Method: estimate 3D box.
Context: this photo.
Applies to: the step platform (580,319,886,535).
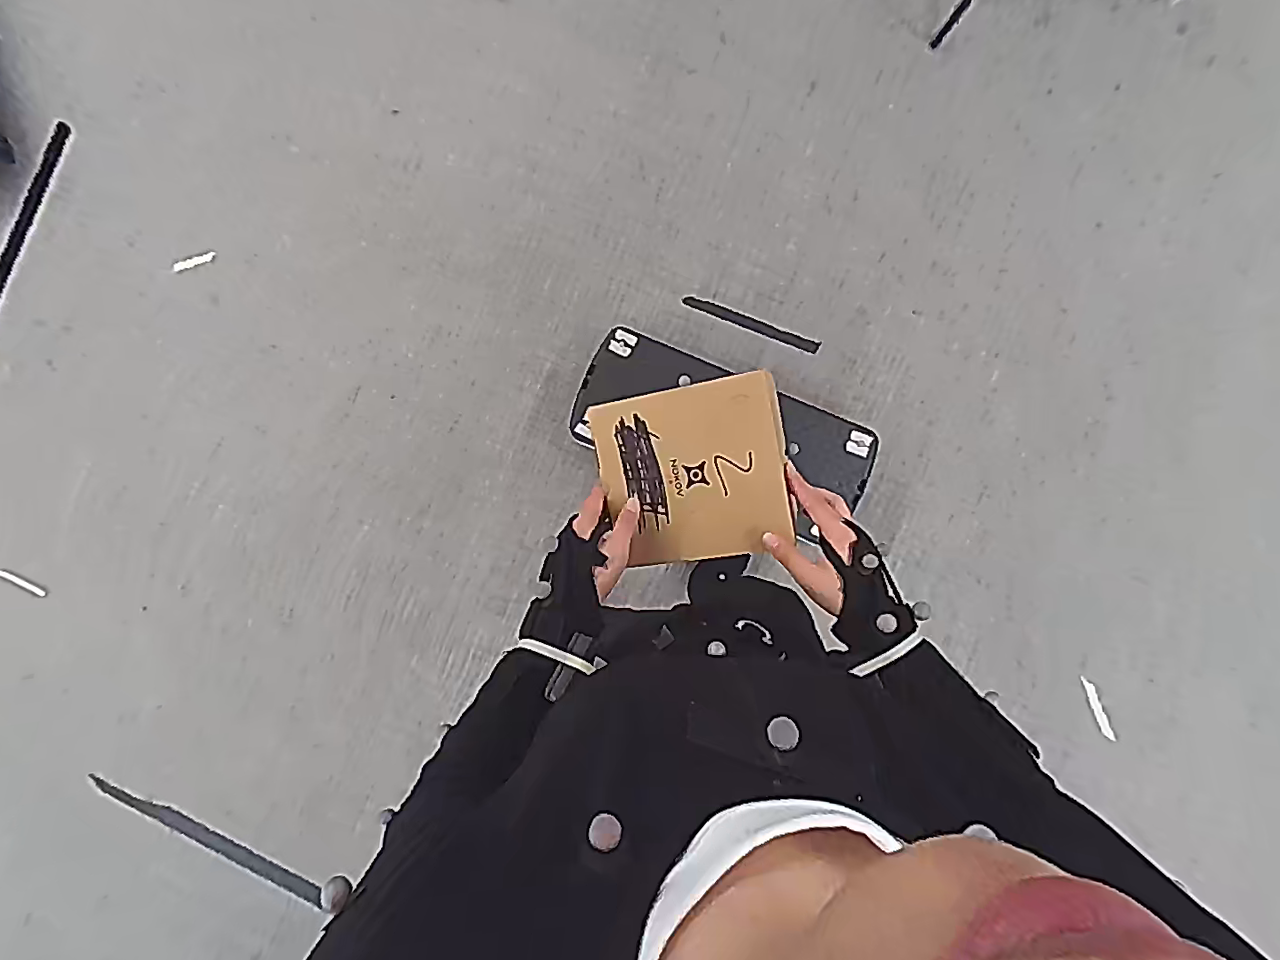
[{"bbox_3d":[0.205,-0.122,1.278,0.684,0.204,0.286,23,90,5],"label":"step platform"}]
